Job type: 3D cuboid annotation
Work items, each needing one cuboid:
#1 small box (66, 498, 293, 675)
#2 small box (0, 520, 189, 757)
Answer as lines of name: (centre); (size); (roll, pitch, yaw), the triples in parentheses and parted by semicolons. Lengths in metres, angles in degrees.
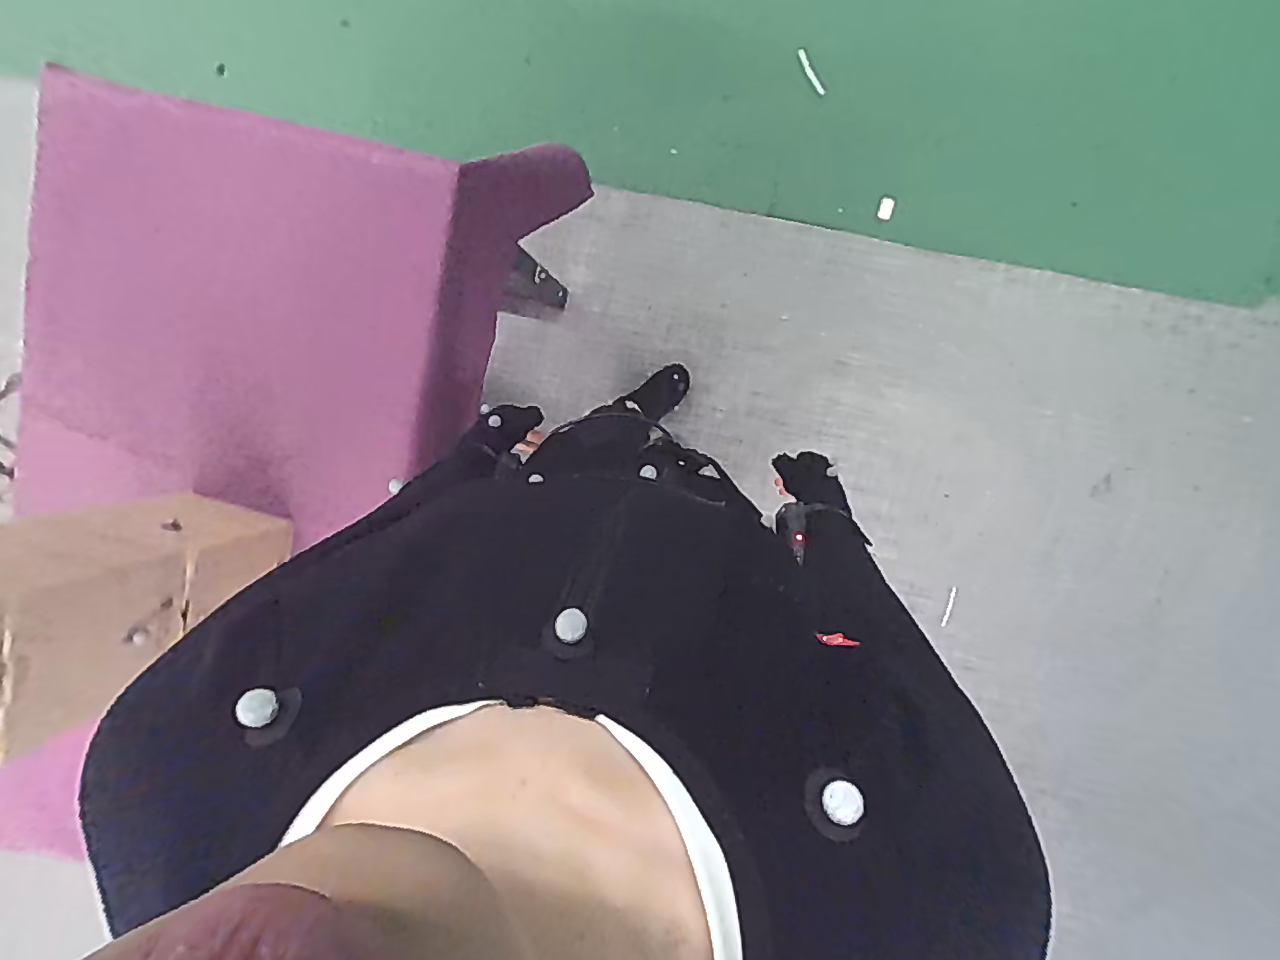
small box: (-0.613, 0.129, 0.730); (0.179, 0.176, 0.168); (15, 98, 4)
small box: (-0.636, 0.148, 0.569); (0.179, 0.176, 0.168); (14, 98, 3)
